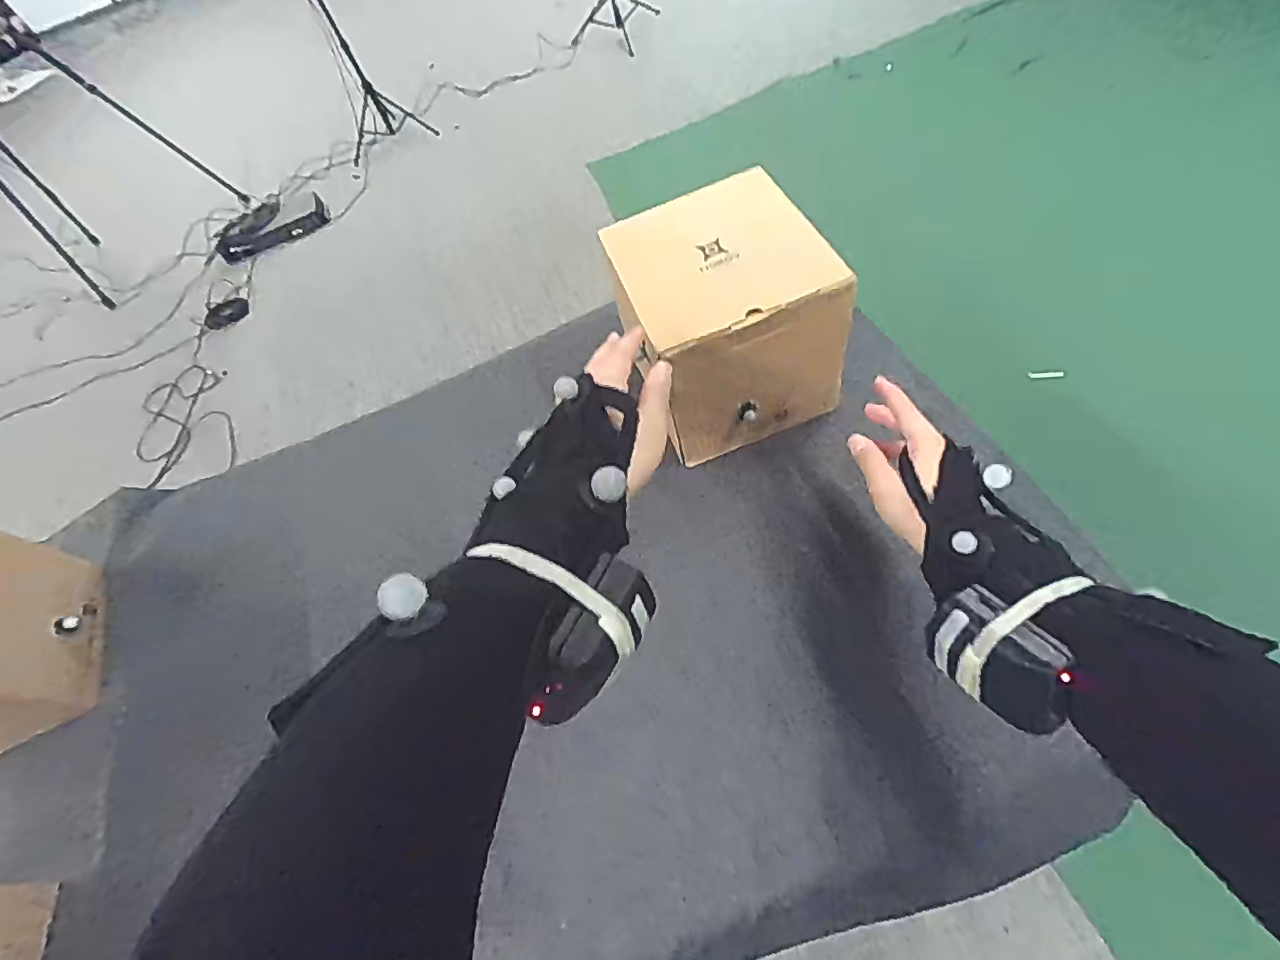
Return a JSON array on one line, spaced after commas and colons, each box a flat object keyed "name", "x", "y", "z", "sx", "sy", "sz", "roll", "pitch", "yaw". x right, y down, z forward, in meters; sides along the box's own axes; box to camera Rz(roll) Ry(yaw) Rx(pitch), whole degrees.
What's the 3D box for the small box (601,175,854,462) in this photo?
[{"name": "small box", "x": 0.078, "y": -0.149, "z": 0.525, "sx": 0.168, "sy": 0.176, "sz": 0.179, "roll": -22, "pitch": 58, "yaw": 0}]
